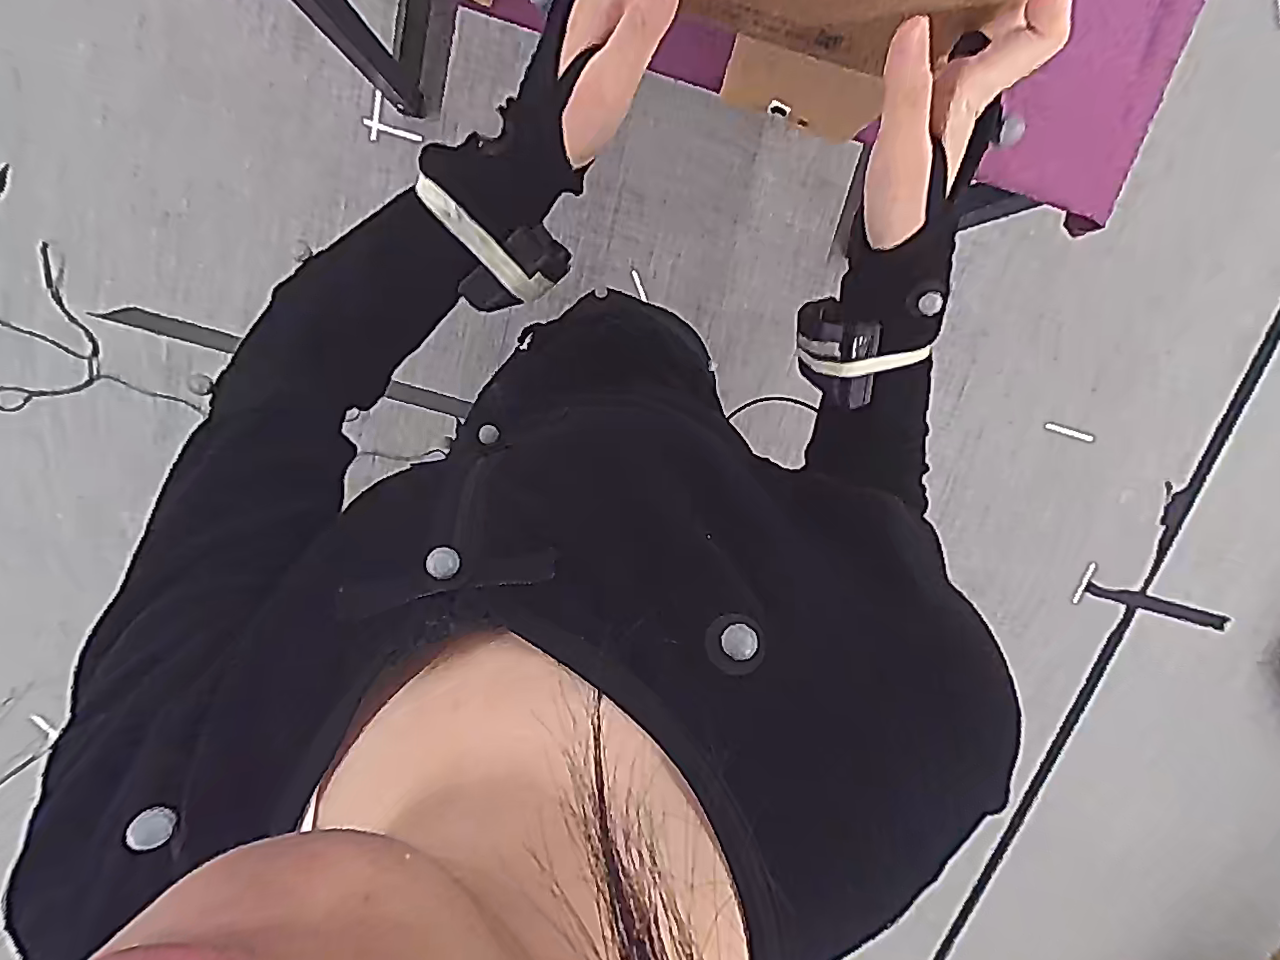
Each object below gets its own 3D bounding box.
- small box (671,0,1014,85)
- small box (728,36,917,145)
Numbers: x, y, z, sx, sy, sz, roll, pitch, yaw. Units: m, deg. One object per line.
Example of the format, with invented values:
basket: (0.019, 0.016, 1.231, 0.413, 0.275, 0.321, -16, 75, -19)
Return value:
small box: (0.108, -0.309, 0.216, 0.168, 0.176, 0.179, 13, 105, -6)
small box: (0.202, -0.487, 0.557, 0.168, 0.176, 0.179, 15, 105, -5)
